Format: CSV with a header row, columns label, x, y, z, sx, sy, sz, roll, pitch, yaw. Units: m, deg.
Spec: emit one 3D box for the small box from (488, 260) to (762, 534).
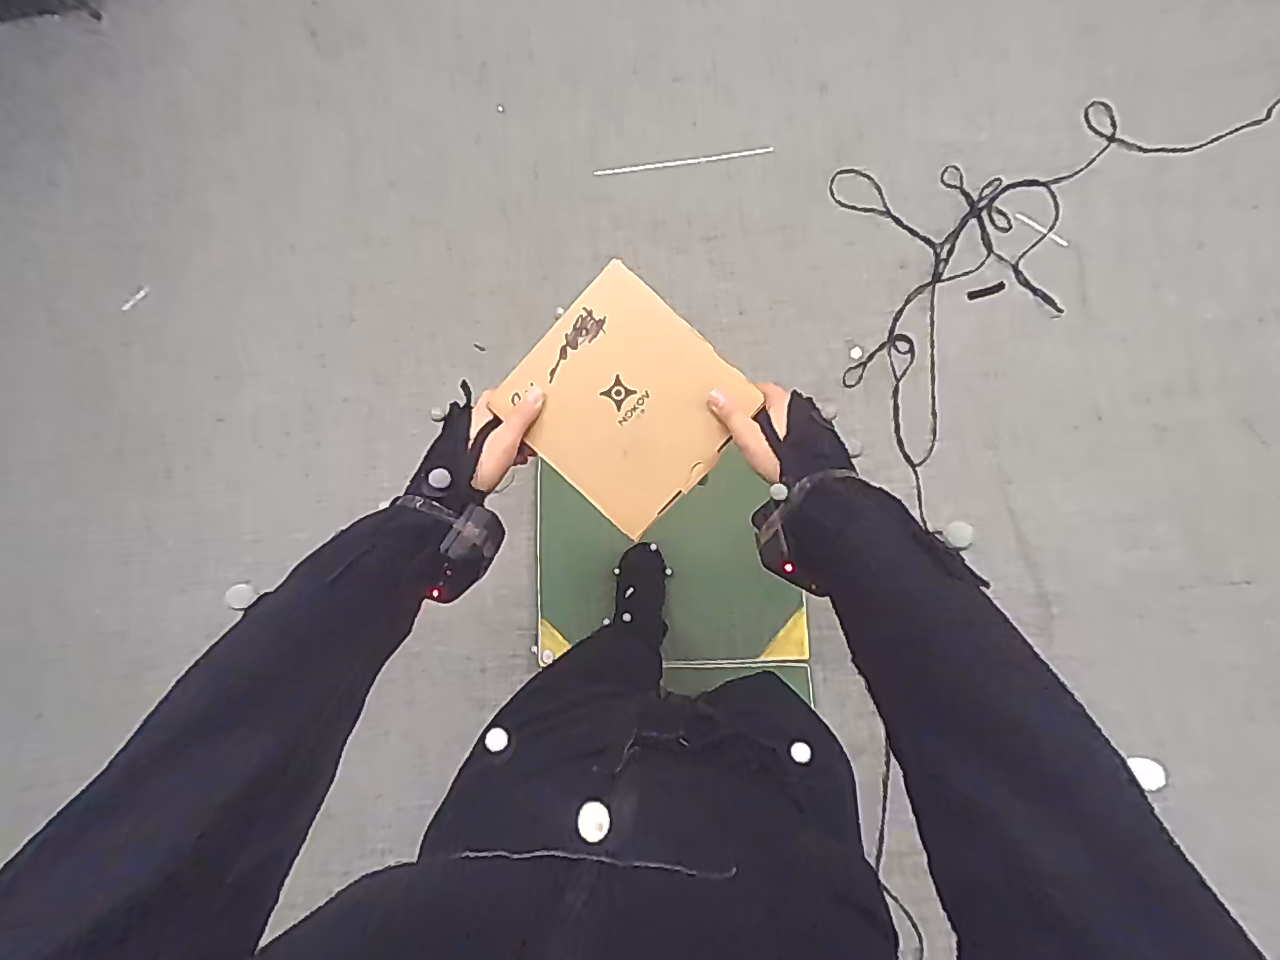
label,x,y,z,sx,sy,sz,roll,pitch,yaw
small box,-0.010,-0.073,0.535,0.179,0.176,0.168,43,93,0
